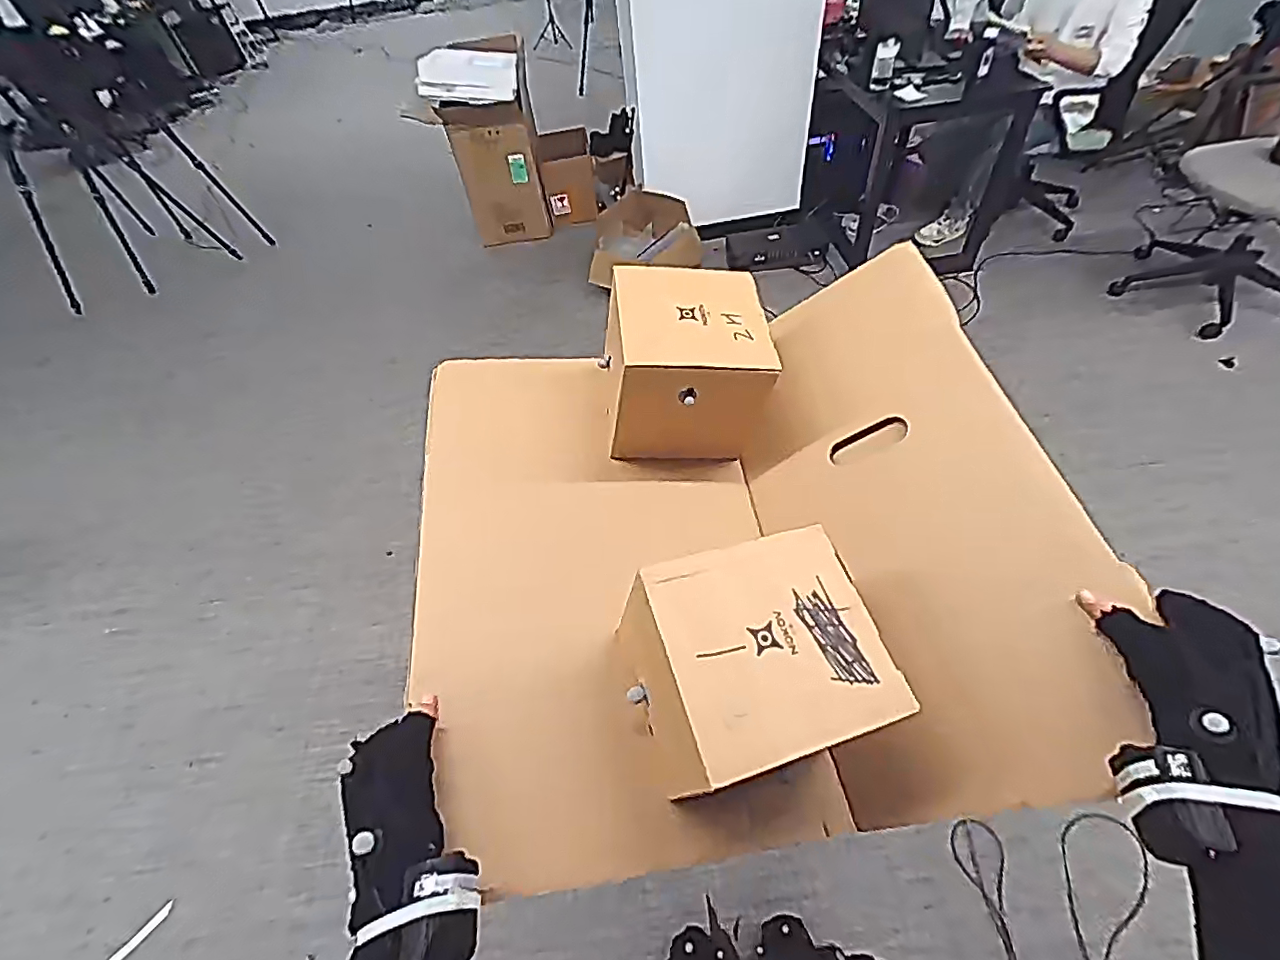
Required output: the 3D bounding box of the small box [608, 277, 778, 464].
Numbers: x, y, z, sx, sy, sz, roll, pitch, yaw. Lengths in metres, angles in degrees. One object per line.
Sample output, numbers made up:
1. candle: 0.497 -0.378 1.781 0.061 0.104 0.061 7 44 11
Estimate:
1. small box: 0.052 -0.132 0.688 0.179 0.176 0.168 1 57 -9
